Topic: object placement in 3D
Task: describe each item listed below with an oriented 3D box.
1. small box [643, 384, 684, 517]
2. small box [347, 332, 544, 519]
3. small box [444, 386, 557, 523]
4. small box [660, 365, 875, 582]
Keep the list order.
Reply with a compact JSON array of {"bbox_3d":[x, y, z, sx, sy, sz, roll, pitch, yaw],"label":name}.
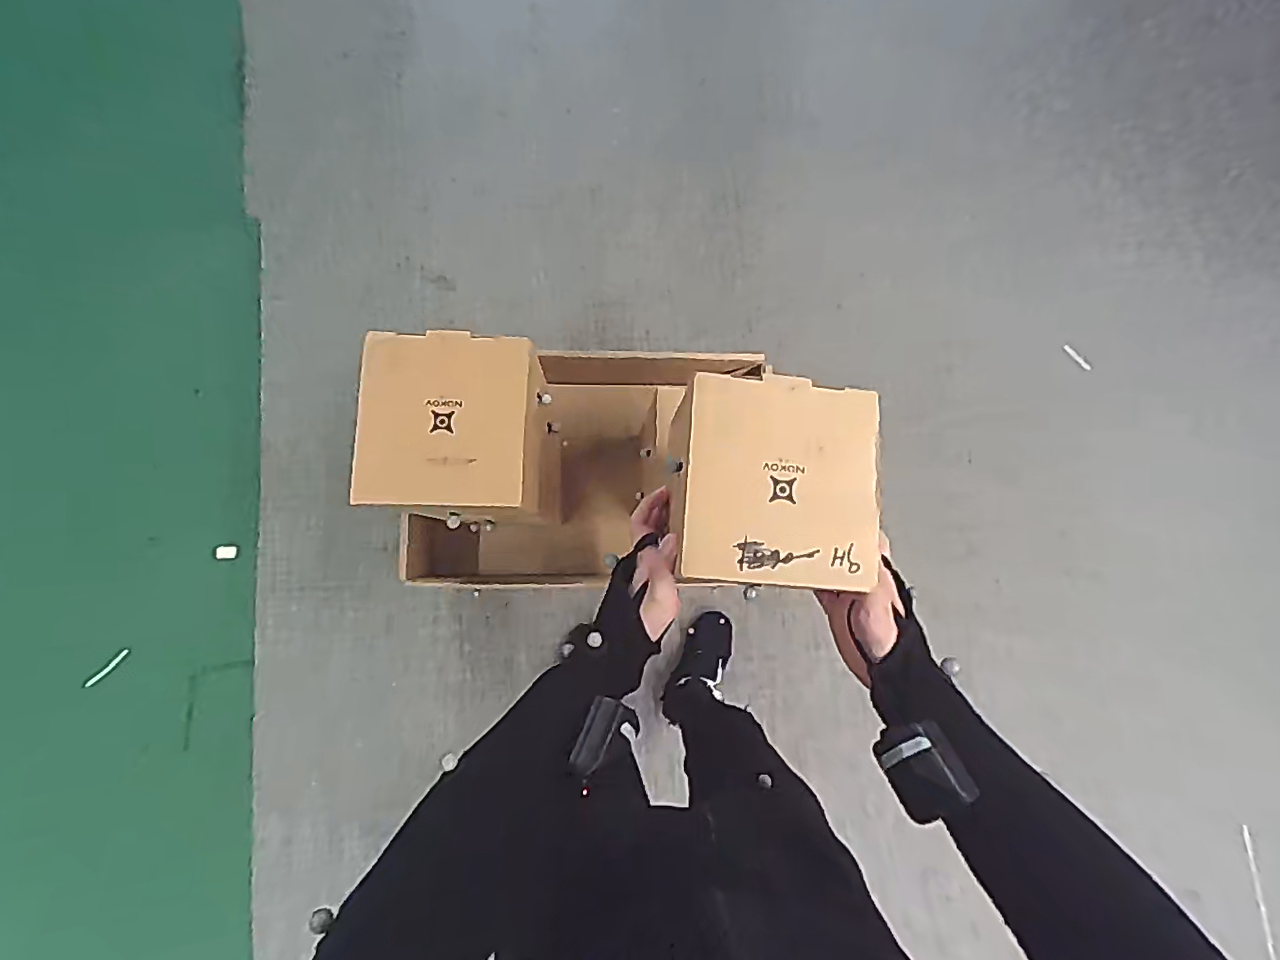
[{"bbox_3d":[0.093,-0.032,0.793,0.168,0.176,0.179,1,83,-4],"label":"small box"},{"bbox_3d":[-0.203,-0.050,0.614,0.168,0.176,0.179,1,83,-3],"label":"small box"},{"bbox_3d":[-0.212,-0.032,0.775,0.168,0.176,0.179,2,83,-2],"label":"small box"},{"bbox_3d":[0.110,0.006,0.528,0.168,0.176,0.179,3,80,-2],"label":"small box"}]
